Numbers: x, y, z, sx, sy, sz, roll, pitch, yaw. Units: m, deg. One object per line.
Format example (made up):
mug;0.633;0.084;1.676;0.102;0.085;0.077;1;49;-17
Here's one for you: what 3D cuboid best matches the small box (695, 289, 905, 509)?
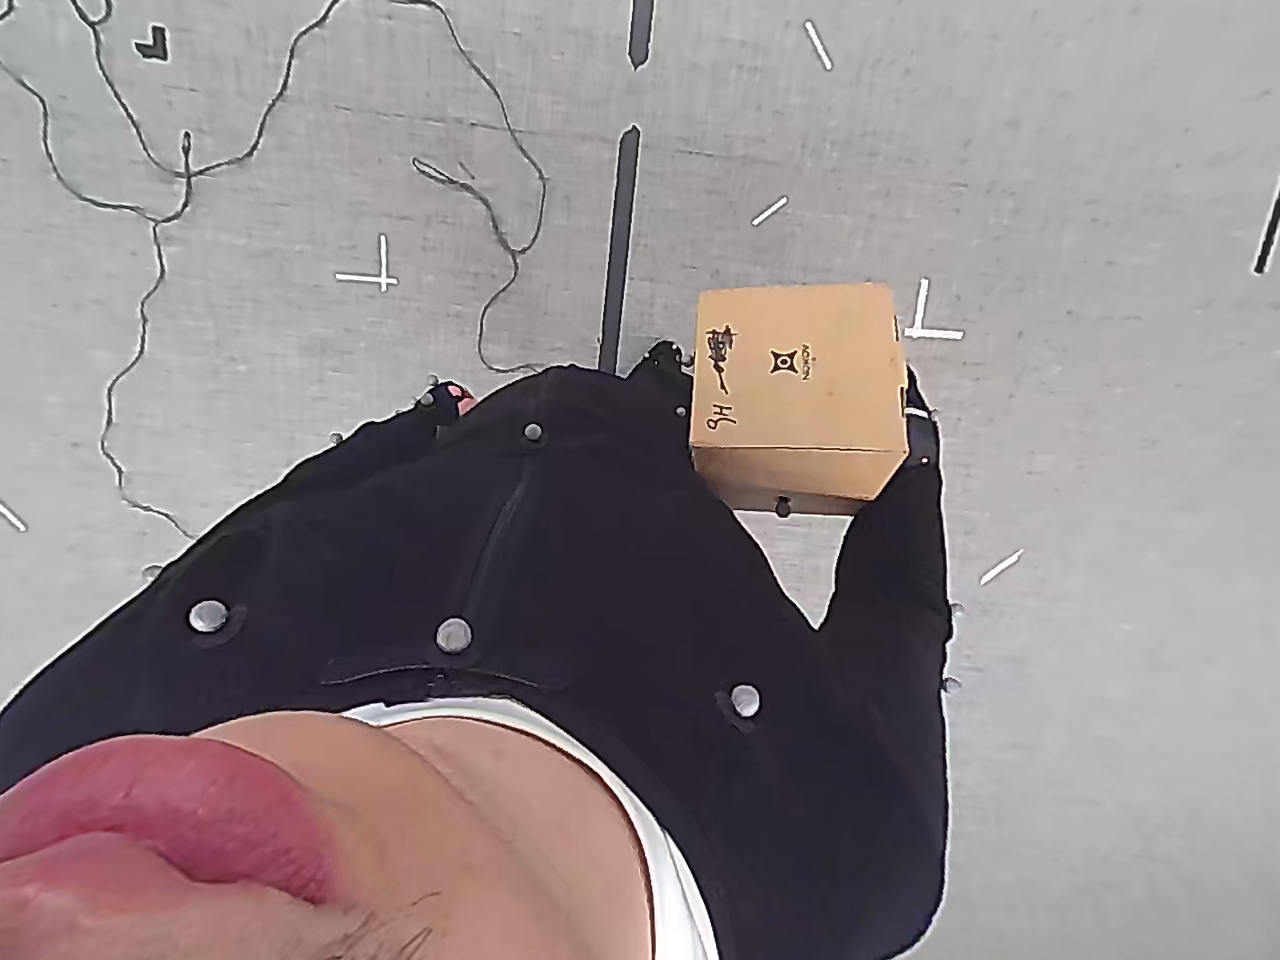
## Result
small box;0.152;-0.075;0.558;0.179;0.176;0.168;2;68;10
